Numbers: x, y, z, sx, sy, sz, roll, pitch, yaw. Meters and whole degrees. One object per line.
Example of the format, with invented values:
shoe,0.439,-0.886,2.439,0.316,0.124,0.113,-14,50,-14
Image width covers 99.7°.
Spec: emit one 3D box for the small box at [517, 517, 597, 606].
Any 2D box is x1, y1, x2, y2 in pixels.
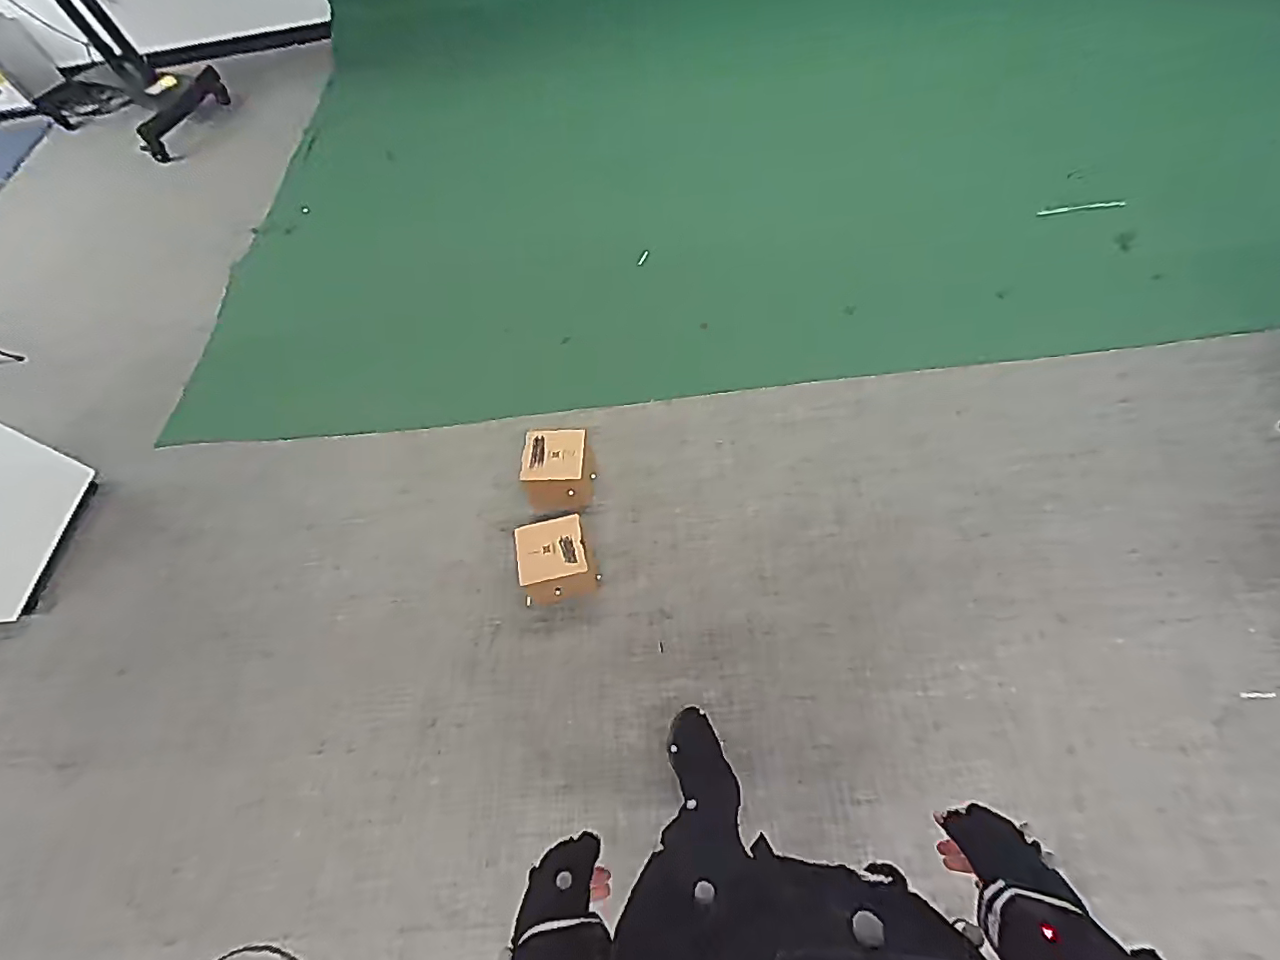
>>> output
small box,-0.216,0.222,1.447,0.179,0.176,0.168,-13,59,0
